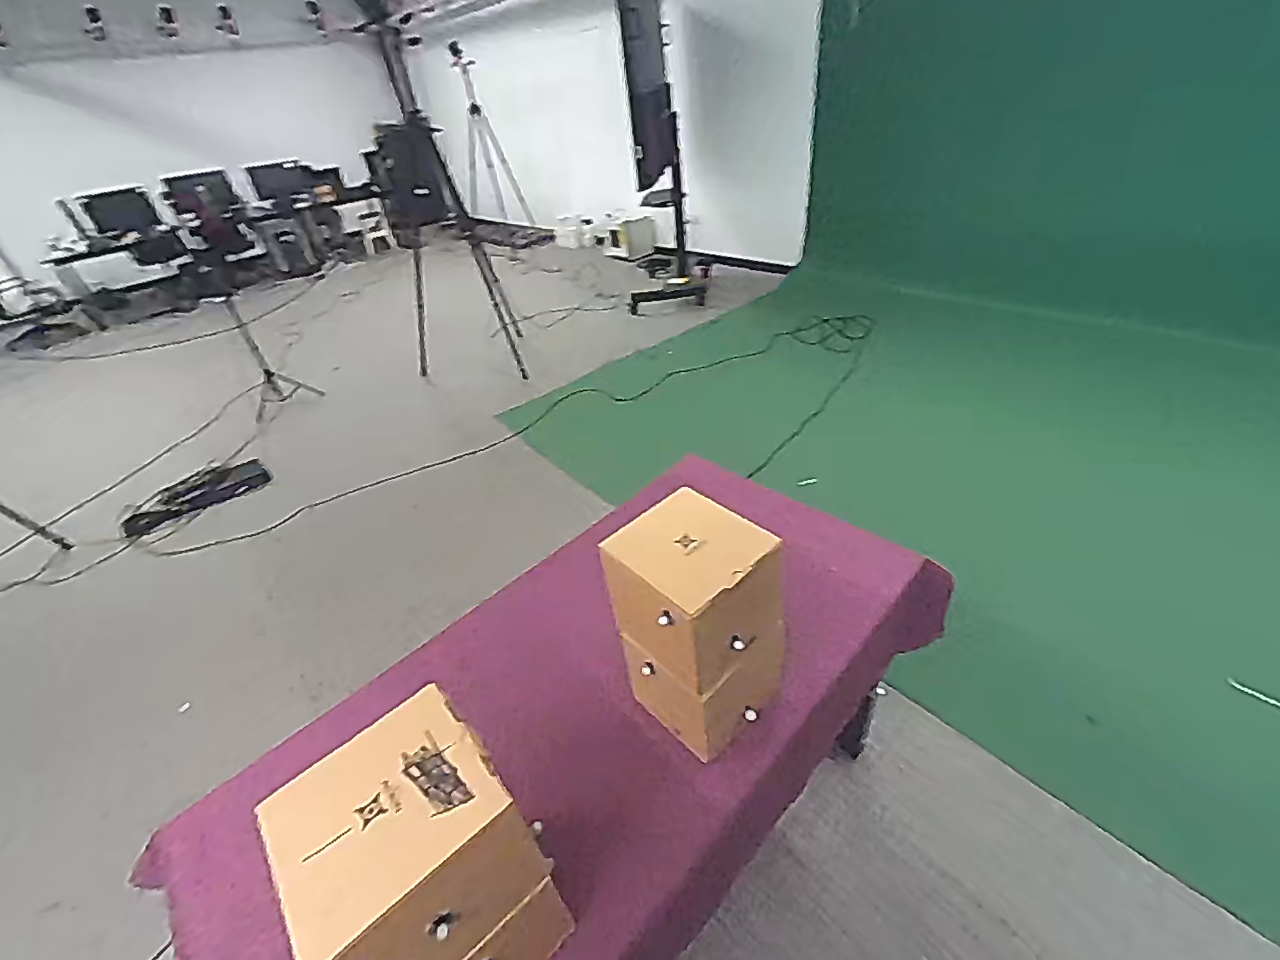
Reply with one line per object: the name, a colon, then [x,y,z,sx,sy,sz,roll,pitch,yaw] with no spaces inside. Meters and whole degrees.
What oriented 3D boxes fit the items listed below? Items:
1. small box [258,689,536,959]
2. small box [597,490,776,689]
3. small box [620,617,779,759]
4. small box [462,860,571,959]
small box: [-0.218,0.353,0.524,0.179,0.176,0.168,-34,44,-29]
small box: [0.065,0.147,0.745,0.168,0.176,0.179,-33,44,-29]
small box: [0.092,0.281,0.836,0.179,0.176,0.168,-32,42,-30]
small box: [-0.202,0.487,0.616,0.179,0.176,0.168,-32,43,-29]
